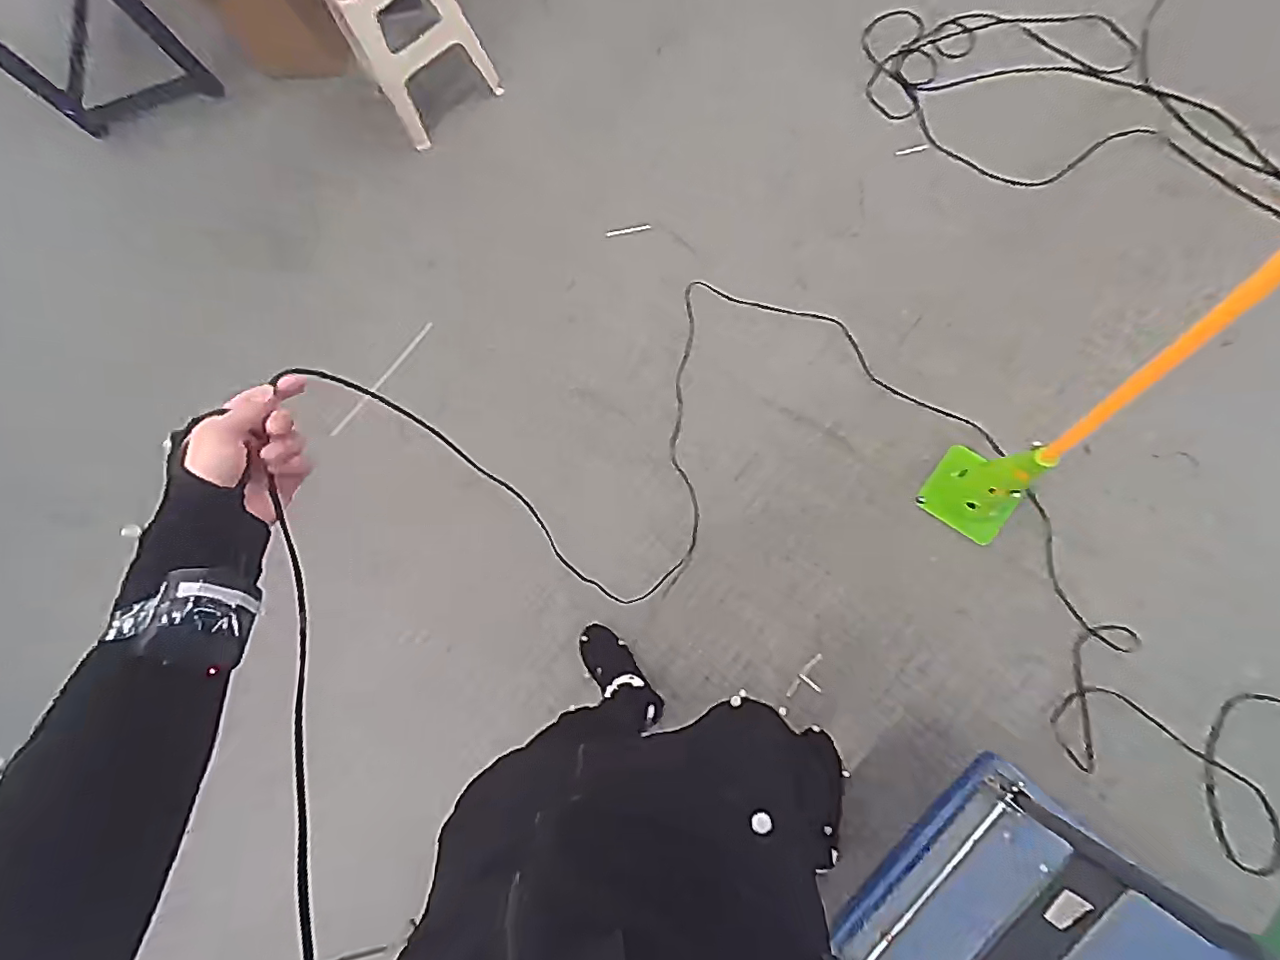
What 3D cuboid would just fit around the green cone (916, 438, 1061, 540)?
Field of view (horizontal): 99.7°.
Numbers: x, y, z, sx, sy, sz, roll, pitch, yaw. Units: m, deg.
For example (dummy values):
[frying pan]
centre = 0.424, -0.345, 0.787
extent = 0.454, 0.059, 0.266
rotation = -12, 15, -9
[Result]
[green cone]
centre = 0.811, -0.015, 1.204
extent = 0.200, 0.368, 0.202
rotation = 35, 84, 14
